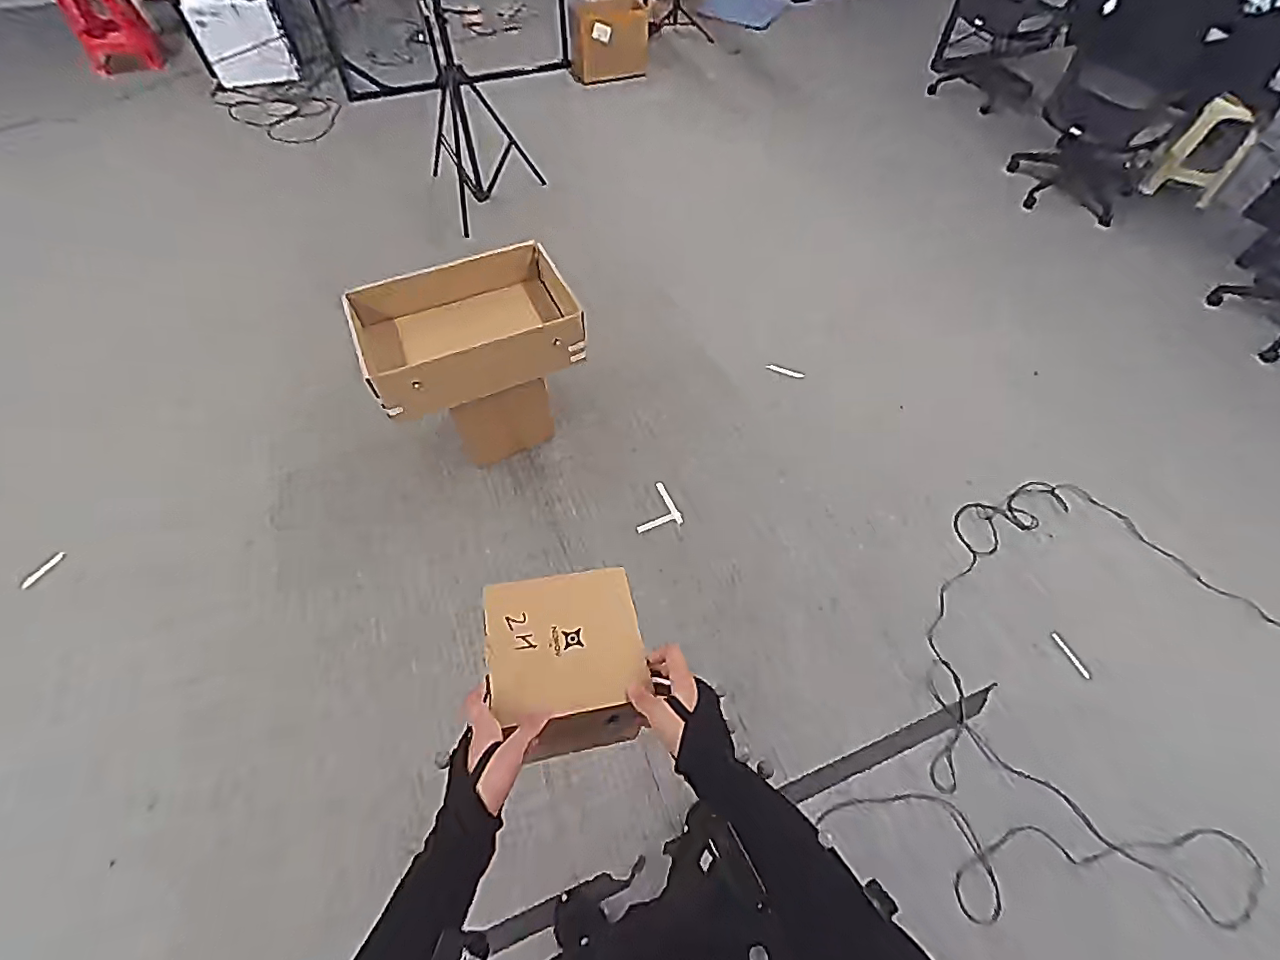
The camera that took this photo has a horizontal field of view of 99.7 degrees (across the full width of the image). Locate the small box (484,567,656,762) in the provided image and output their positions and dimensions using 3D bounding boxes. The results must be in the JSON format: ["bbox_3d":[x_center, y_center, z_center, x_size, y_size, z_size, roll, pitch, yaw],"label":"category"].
[{"bbox_3d":[-0.094,0.229,0.668,0.179,0.176,0.168,-6,52,-14],"label":"small box"}]
